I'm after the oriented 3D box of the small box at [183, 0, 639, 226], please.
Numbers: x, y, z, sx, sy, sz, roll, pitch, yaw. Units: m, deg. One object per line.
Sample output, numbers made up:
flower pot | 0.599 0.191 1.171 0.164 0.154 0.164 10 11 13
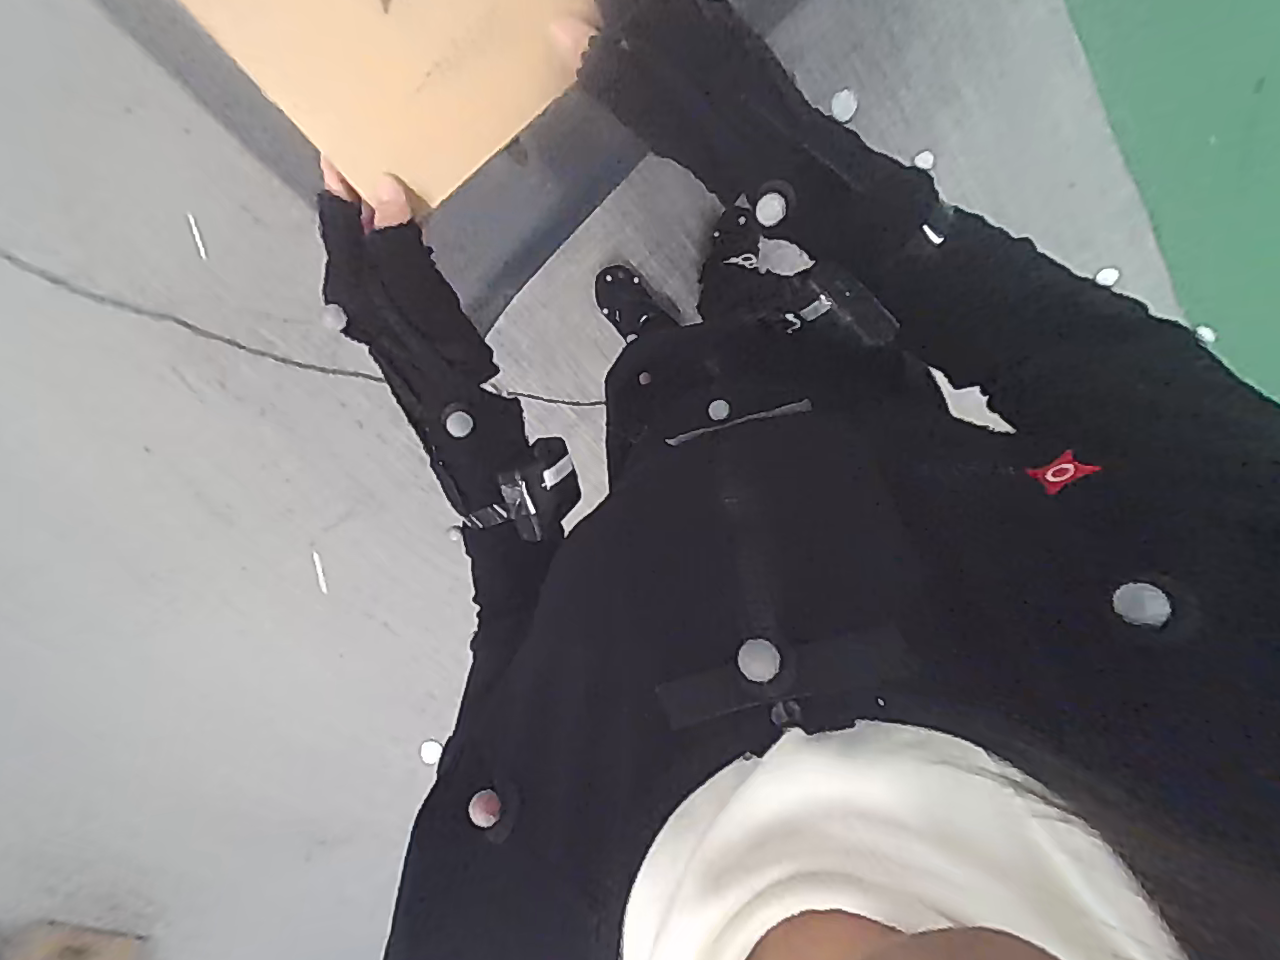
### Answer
small box | -0.122 -0.273 0.285 0.168 0.176 0.179 -30 126 14
